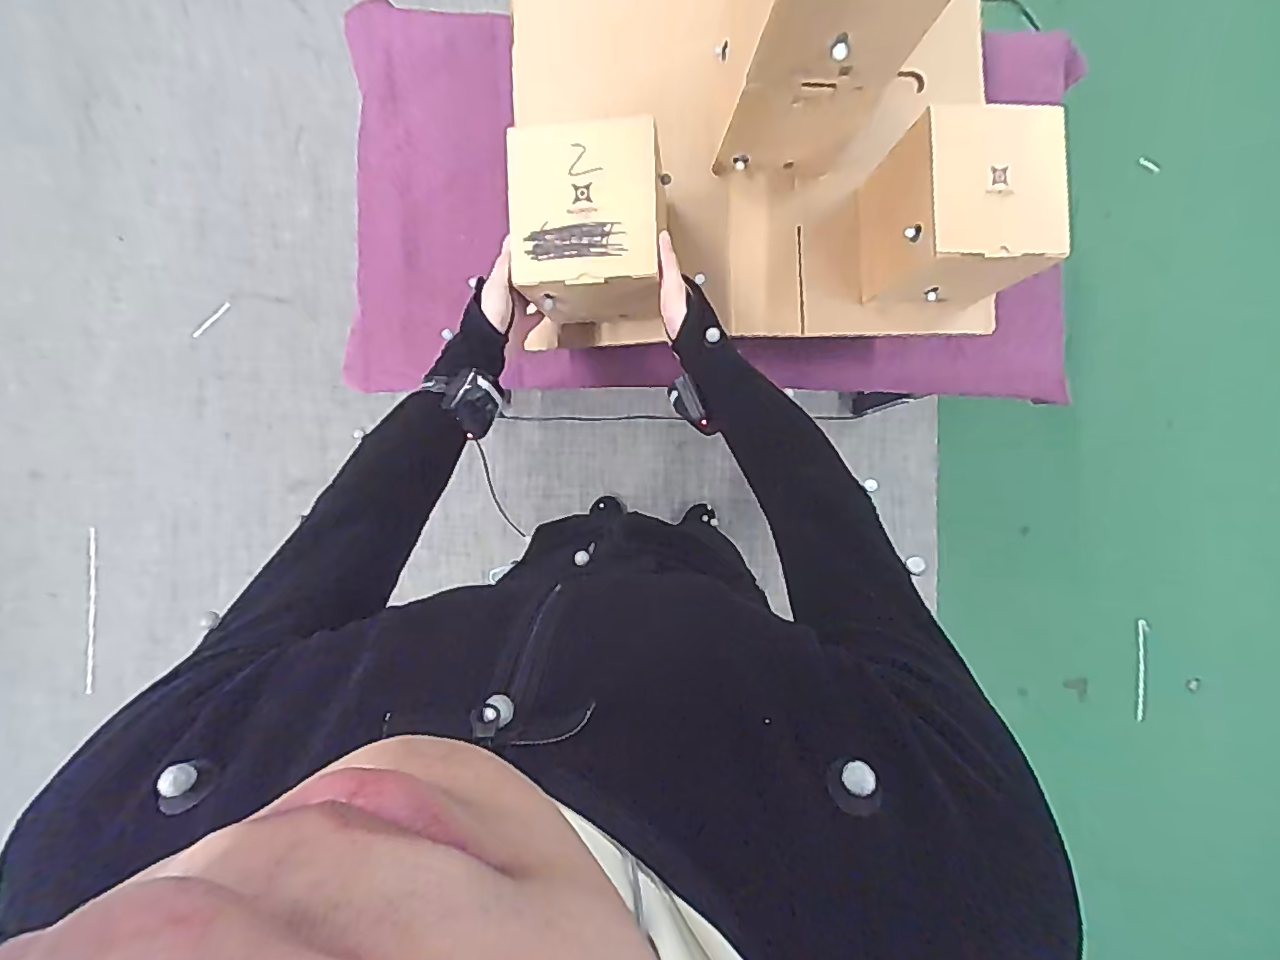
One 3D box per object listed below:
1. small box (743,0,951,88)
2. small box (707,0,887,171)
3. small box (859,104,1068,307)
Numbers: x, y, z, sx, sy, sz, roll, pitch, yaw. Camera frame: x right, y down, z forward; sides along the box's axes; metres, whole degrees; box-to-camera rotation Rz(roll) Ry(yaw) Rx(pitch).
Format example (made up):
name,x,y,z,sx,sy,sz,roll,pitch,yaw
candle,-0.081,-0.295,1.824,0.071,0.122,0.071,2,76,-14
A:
name,x,y,z,sx,sy,sz,roll,pitch,yaw
small box,0.198,-0.518,0.507,0.168,0.176,0.179,-2,90,-6
small box,0.182,-0.513,0.671,0.168,0.176,0.179,-2,89,-6
small box,0.398,-0.336,0.691,0.168,0.176,0.179,-2,90,-5
